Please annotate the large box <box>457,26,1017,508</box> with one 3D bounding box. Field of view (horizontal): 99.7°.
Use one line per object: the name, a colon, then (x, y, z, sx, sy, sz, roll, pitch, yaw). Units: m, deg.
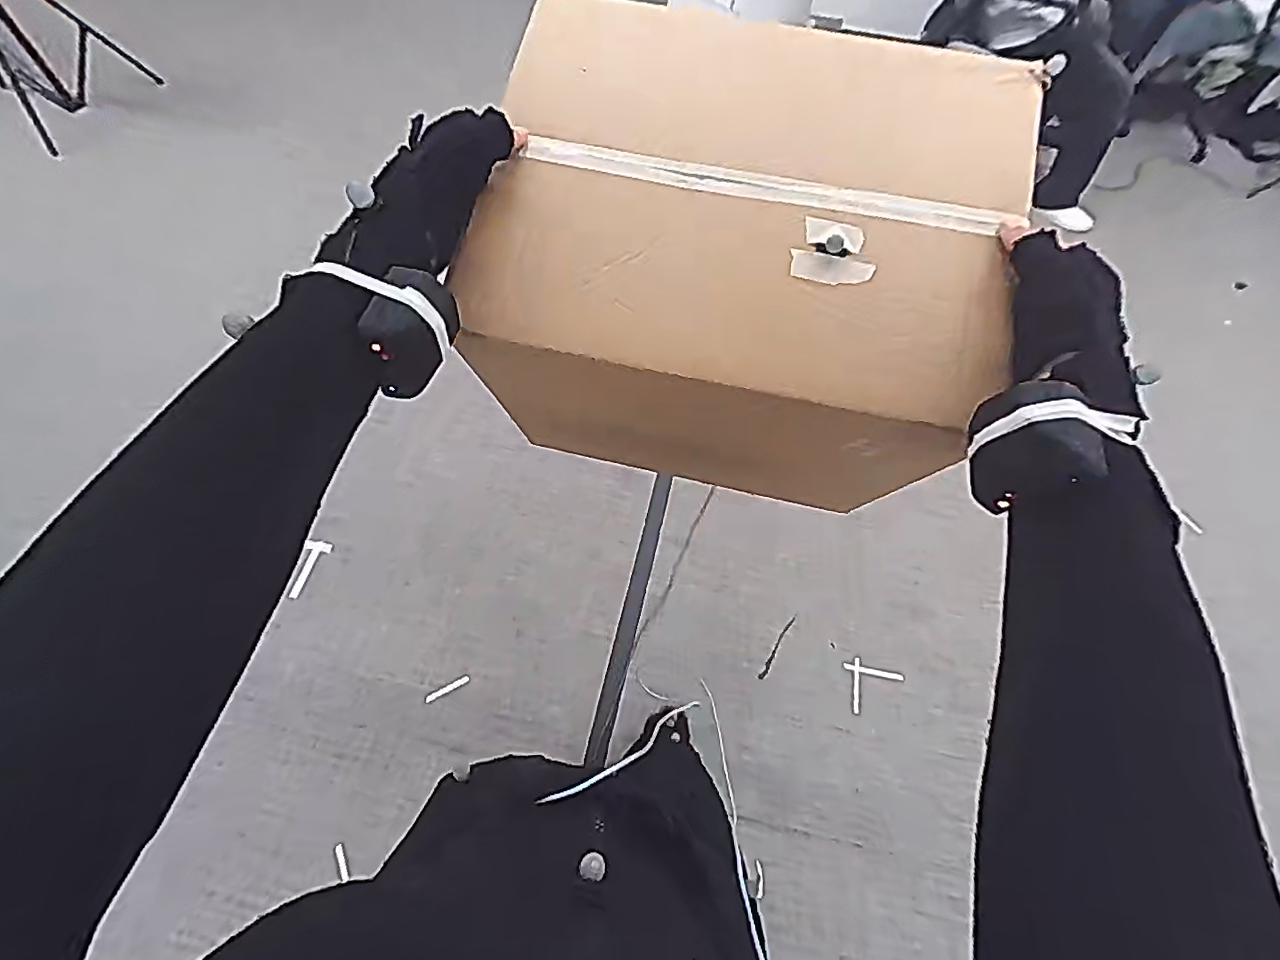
large box: (0.086, -0.179, 0.570, 0.408, 0.320, 0.320, 13, 79, 4)
